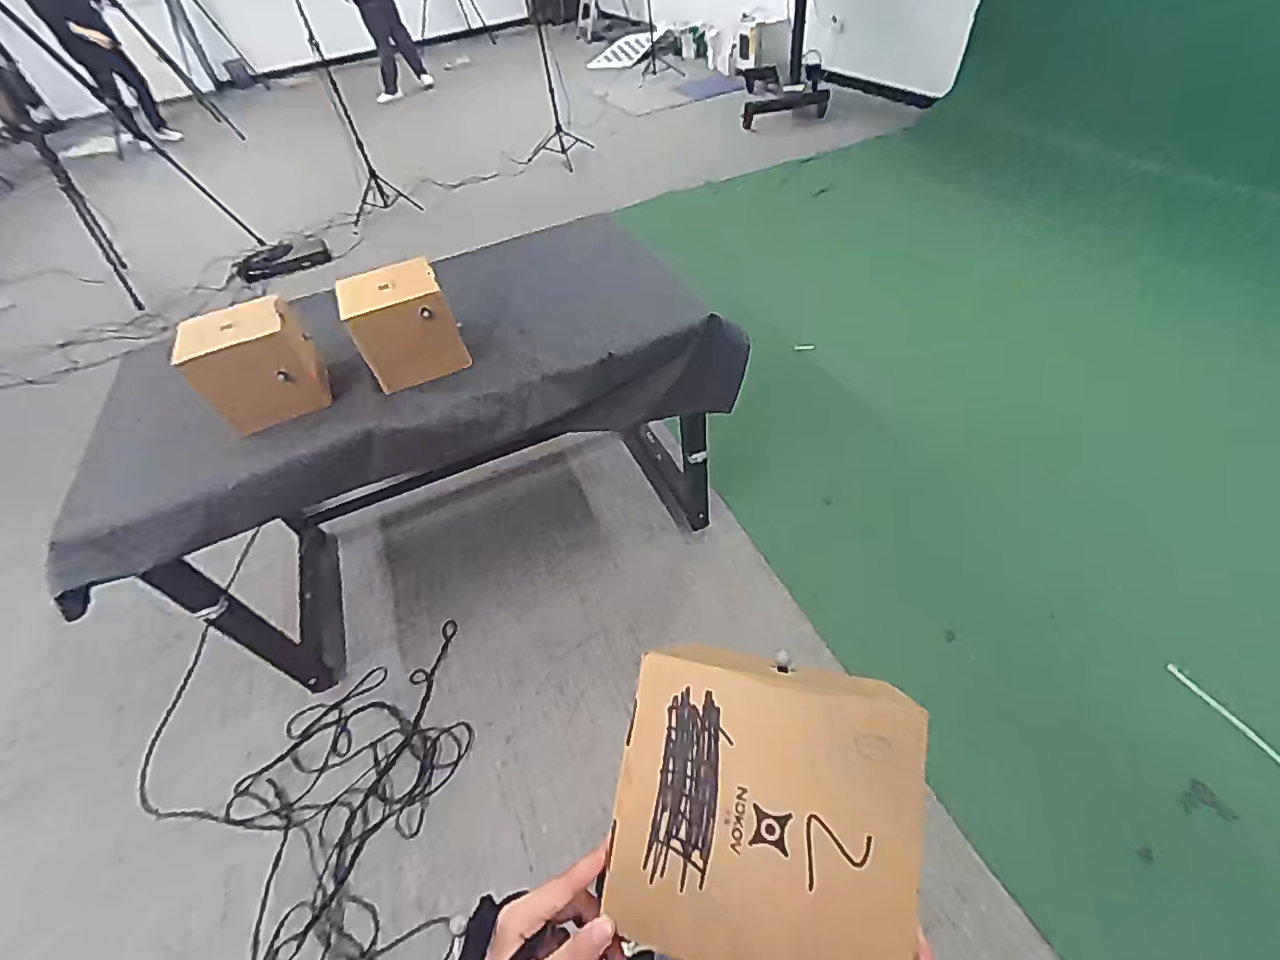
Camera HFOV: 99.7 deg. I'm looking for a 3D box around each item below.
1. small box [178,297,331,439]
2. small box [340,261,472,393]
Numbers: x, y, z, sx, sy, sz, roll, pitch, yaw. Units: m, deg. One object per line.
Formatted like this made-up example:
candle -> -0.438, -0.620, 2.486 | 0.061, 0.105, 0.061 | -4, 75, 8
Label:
small box -> -0.705, -0.209, 1.012 | 0.179, 0.176, 0.168 | -25, 48, -13
small box -> -0.452, -0.295, 1.053 | 0.179, 0.176, 0.168 | -23, 49, -13
